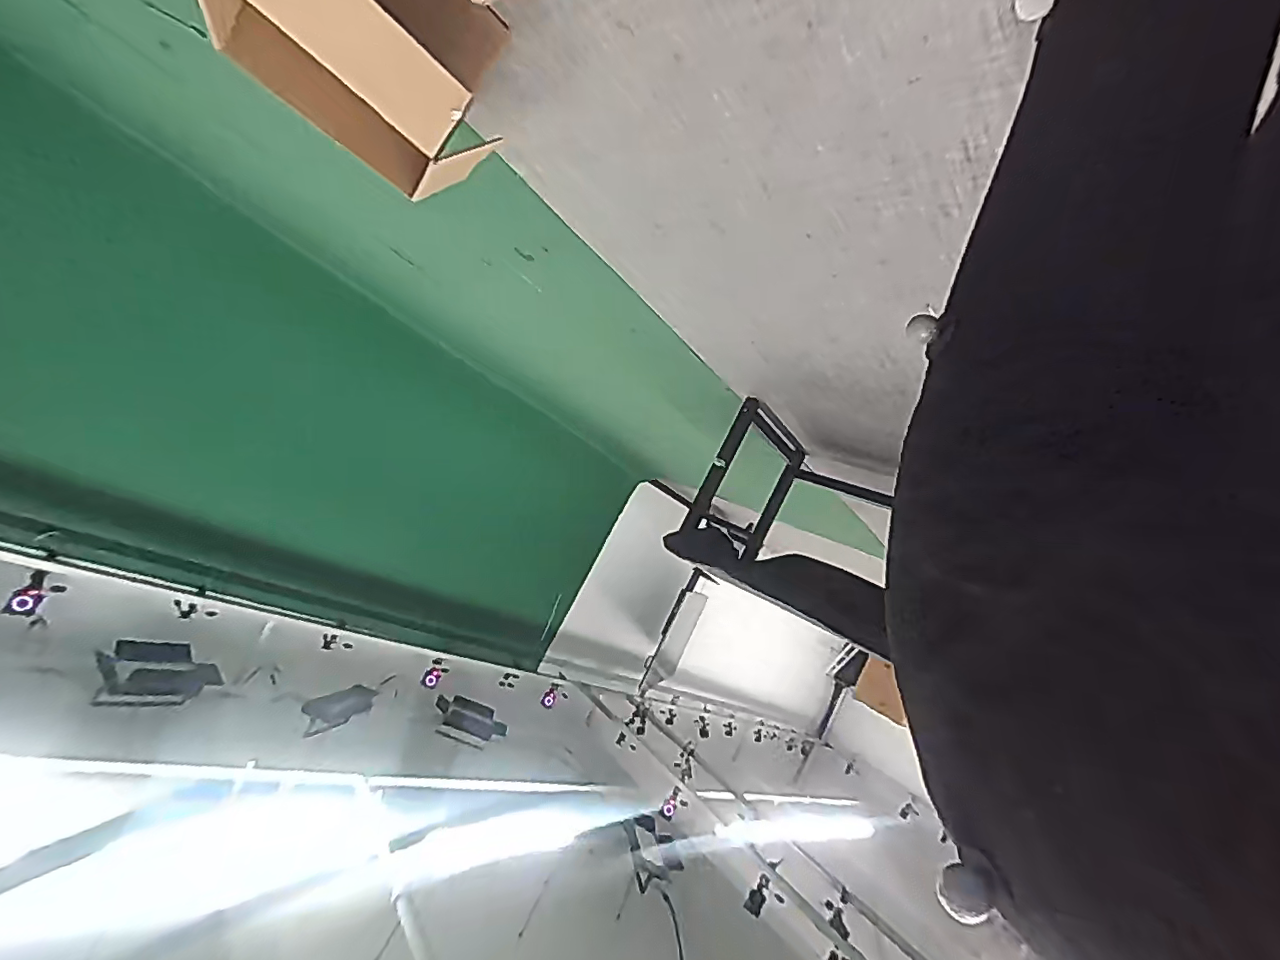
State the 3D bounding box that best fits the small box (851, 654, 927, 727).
[{"bbox_3d":[0.834,0.699,1.807,0.168,0.176,0.179,23,173,41],"label":"small box"}]
